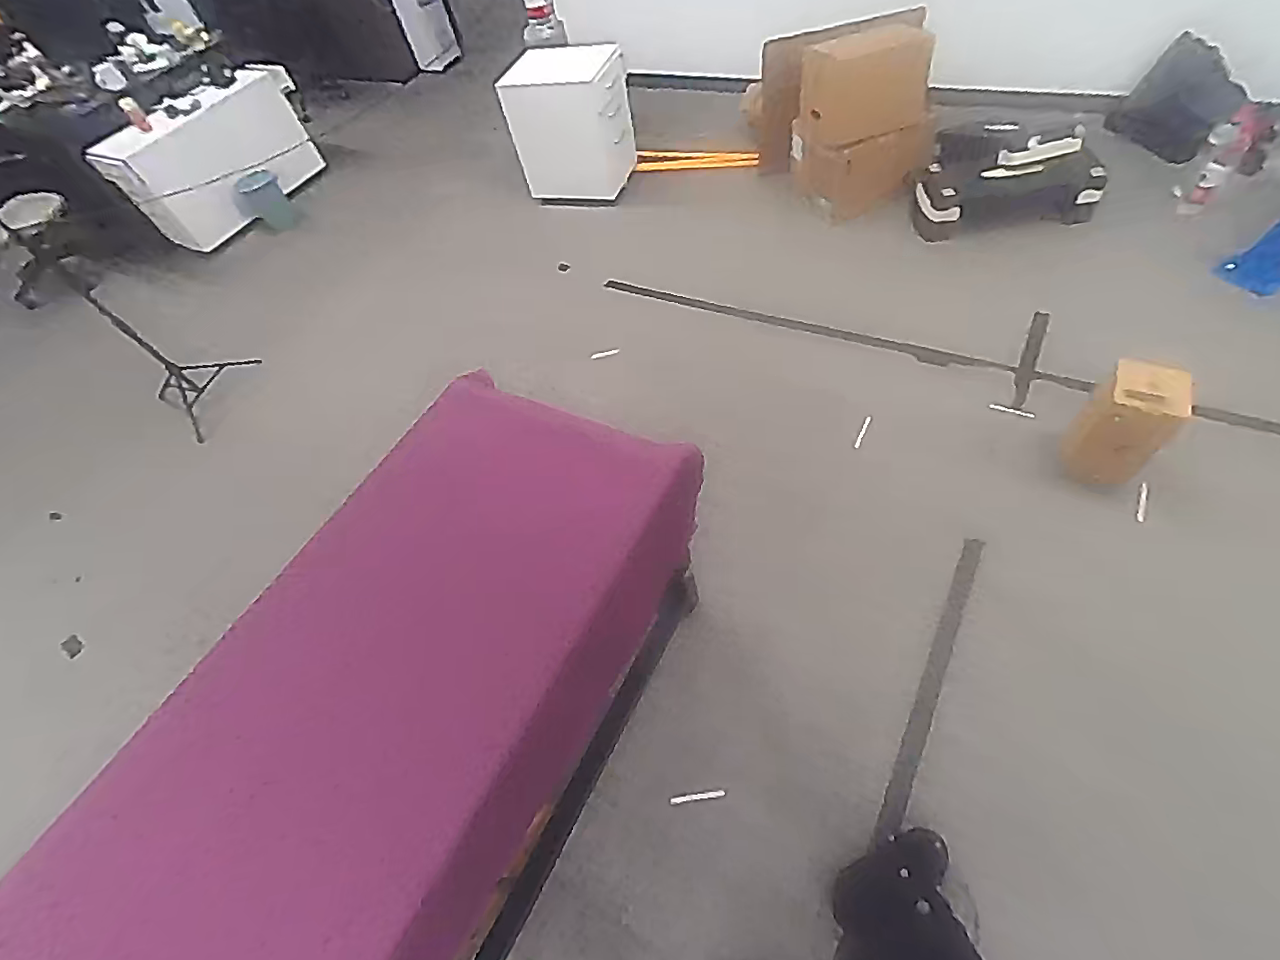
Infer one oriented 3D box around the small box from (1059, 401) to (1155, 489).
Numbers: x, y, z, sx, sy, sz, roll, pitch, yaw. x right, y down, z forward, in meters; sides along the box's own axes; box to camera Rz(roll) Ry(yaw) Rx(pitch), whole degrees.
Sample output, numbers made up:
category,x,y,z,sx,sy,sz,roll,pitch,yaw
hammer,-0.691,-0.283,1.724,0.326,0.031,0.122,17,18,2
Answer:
category,x,y,z,sx,sy,sz,roll,pitch,yaw
small box,1.392,-0.104,1.620,0.168,0.176,0.179,18,62,21
